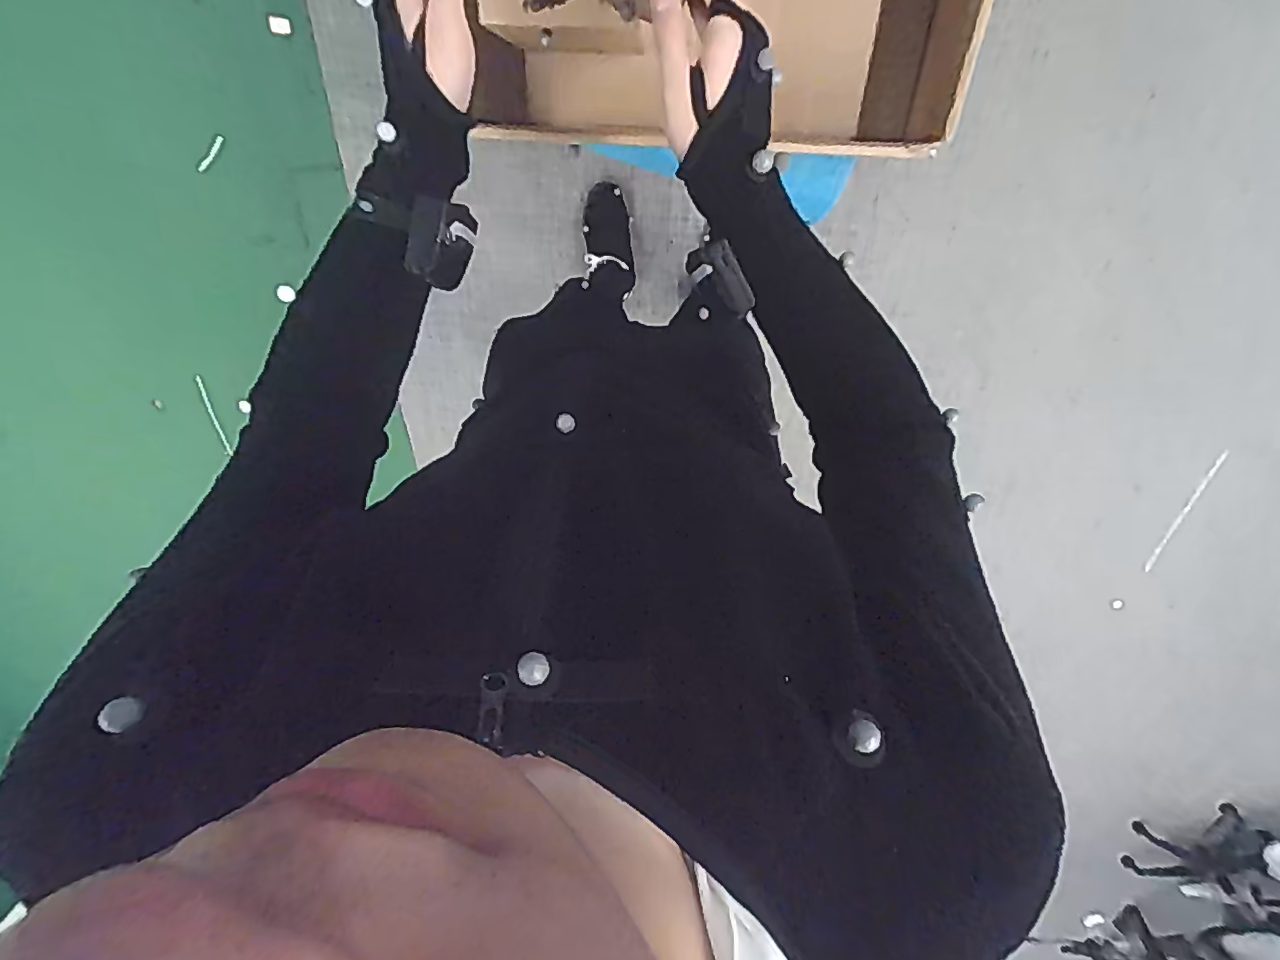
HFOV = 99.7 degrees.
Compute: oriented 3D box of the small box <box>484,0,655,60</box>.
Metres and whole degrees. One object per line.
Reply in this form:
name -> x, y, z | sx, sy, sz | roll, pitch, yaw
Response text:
small box -> -0.067, -0.574, 0.575 | 0.168, 0.176, 0.179 | 4, 121, 3
